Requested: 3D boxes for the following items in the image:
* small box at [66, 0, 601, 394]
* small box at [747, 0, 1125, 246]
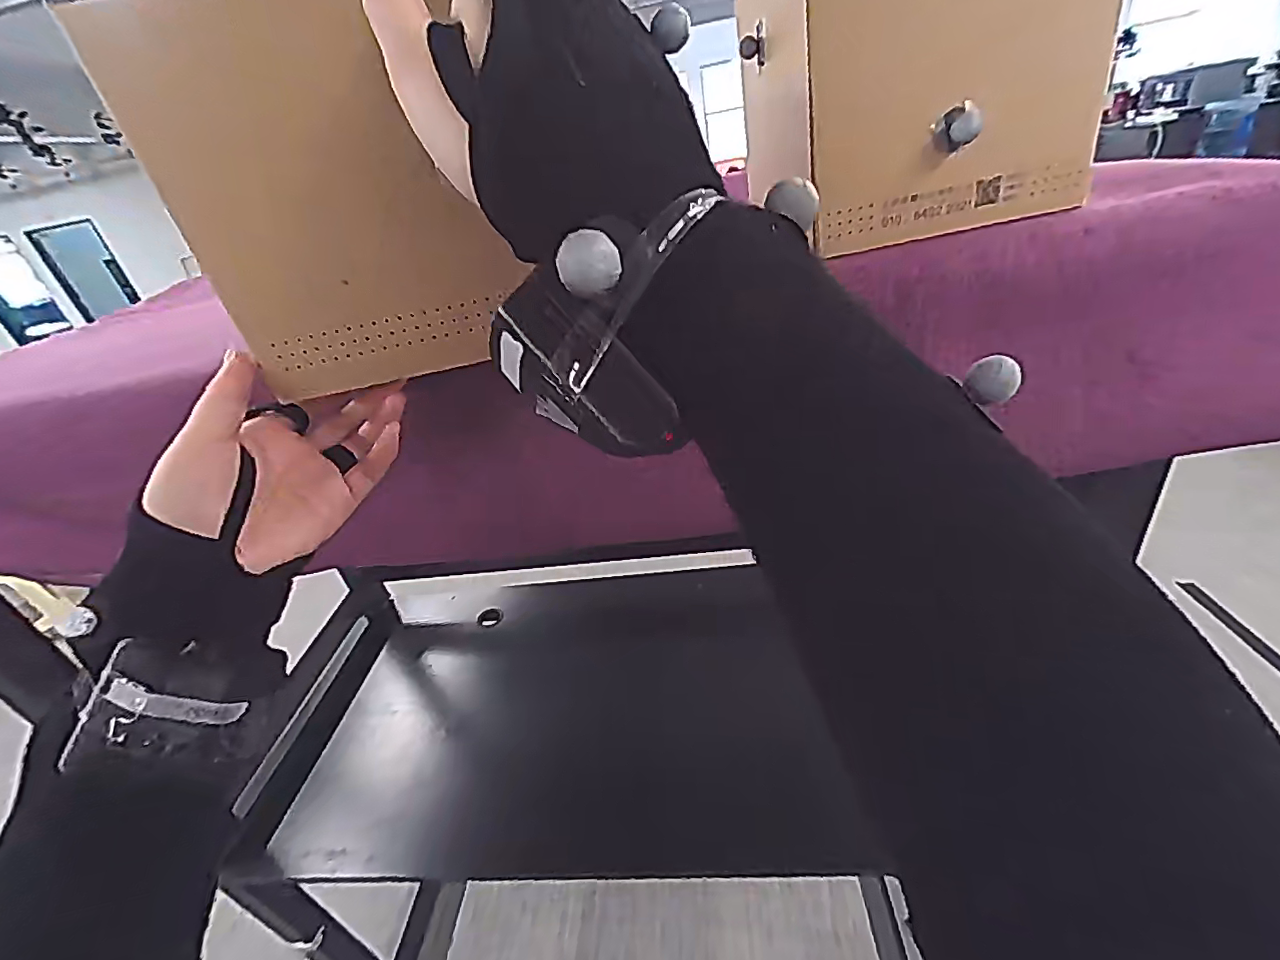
[{"bbox_3d":[-0.122,-0.168,0.308,0.179,0.176,0.168,-13,32,-1],"label":"small box"},{"bbox_3d":[0.174,-0.265,0.366,0.168,0.176,0.179,-11,29,3],"label":"small box"}]
